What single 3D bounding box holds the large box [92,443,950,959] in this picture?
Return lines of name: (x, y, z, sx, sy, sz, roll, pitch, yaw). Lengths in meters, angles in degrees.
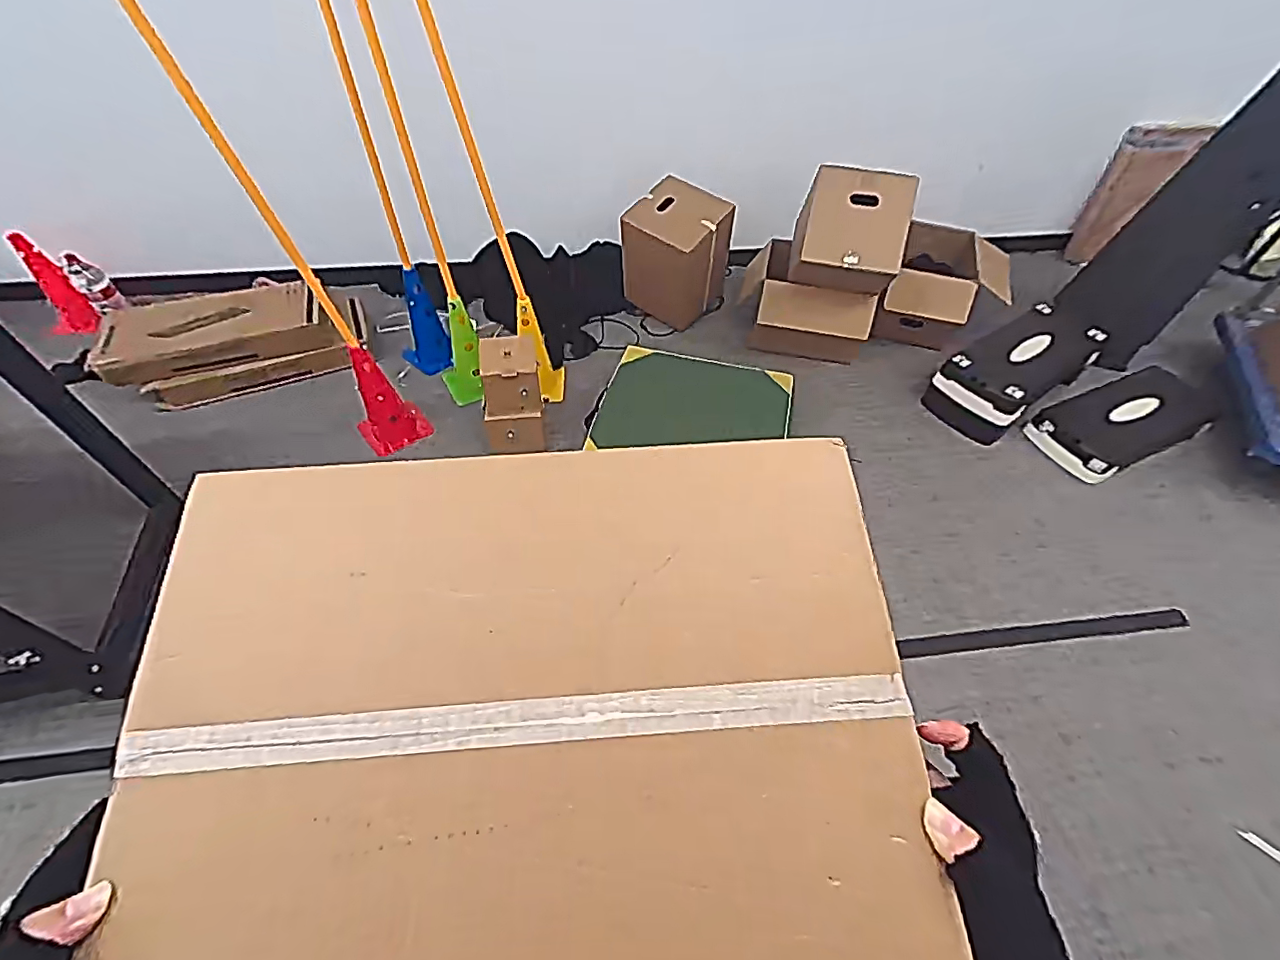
large box: (-0.064, 0.188, 0.430, 0.408, 0.320, 0.320, -3, 67, -2)
